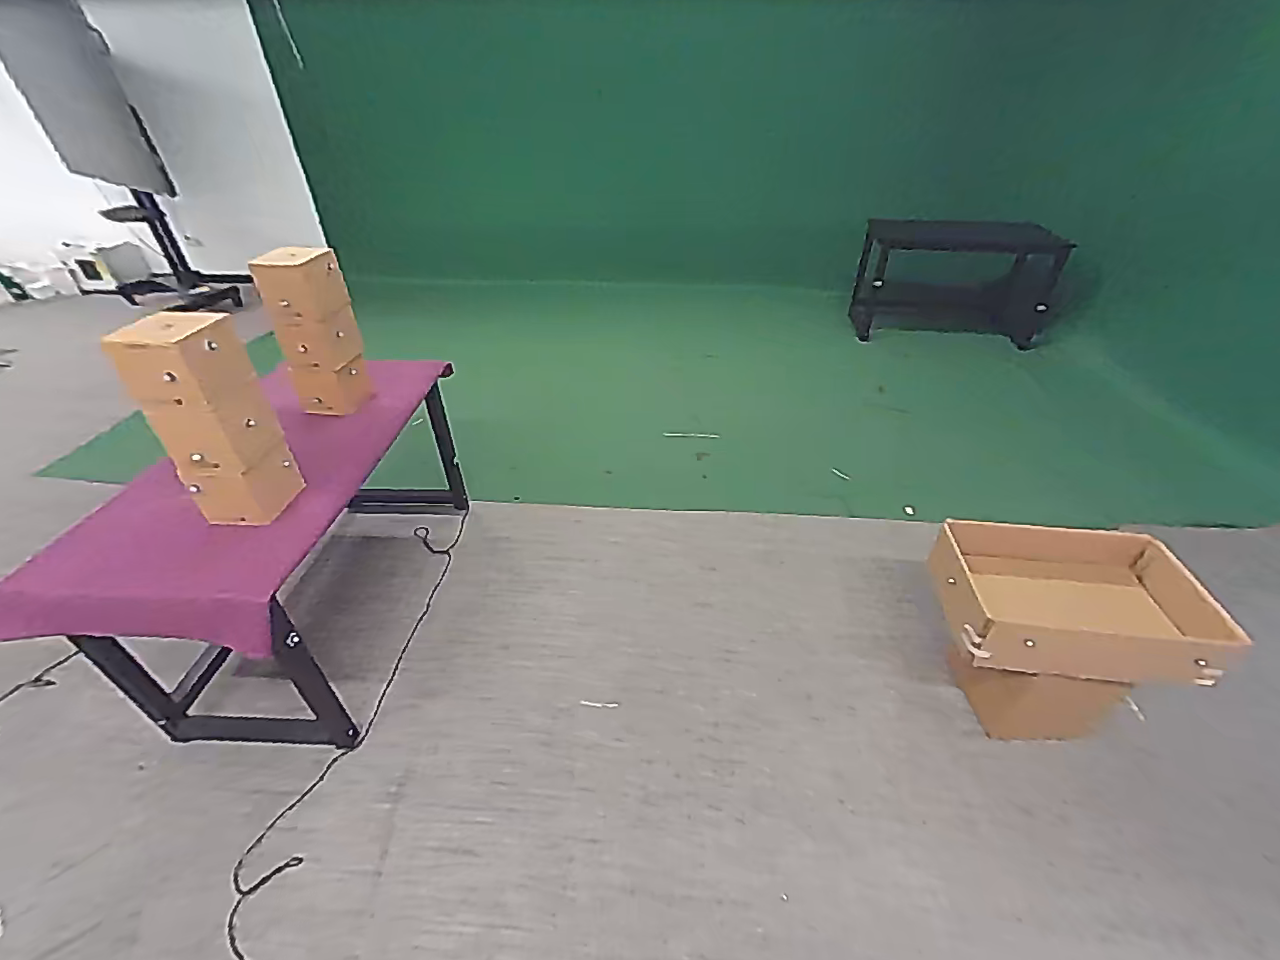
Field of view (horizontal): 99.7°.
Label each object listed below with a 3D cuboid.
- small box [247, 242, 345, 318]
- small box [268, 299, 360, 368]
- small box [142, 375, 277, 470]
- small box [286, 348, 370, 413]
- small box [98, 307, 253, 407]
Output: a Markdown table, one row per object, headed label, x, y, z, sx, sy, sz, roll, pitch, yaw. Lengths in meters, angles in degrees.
| label | x | y | z | sx | sy | sz | roll | pitch | yaw |
| --- | --- | --- | --- | --- | --- | --- | --- | --- | --- |
| small box | -1.033 | -0.611 | 1.649 | 0.168 | 0.176 | 0.179 | 5 | 39 | 6 |
| small box | -1.040 | -0.477 | 1.747 | 0.168 | 0.176 | 0.179 | 6 | 39 | 5 |
| small box | -1.021 | -0.143 | 1.308 | 0.168 | 0.176 | 0.179 | 2 | 38 | 2 |
| small box | -1.054 | -0.349 | 1.848 | 0.168 | 0.176 | 0.179 | 6 | 39 | 5 |
| small box | -1.022 | -0.276 | 1.213 | 0.168 | 0.176 | 0.179 | 3 | 36 | 2 |
